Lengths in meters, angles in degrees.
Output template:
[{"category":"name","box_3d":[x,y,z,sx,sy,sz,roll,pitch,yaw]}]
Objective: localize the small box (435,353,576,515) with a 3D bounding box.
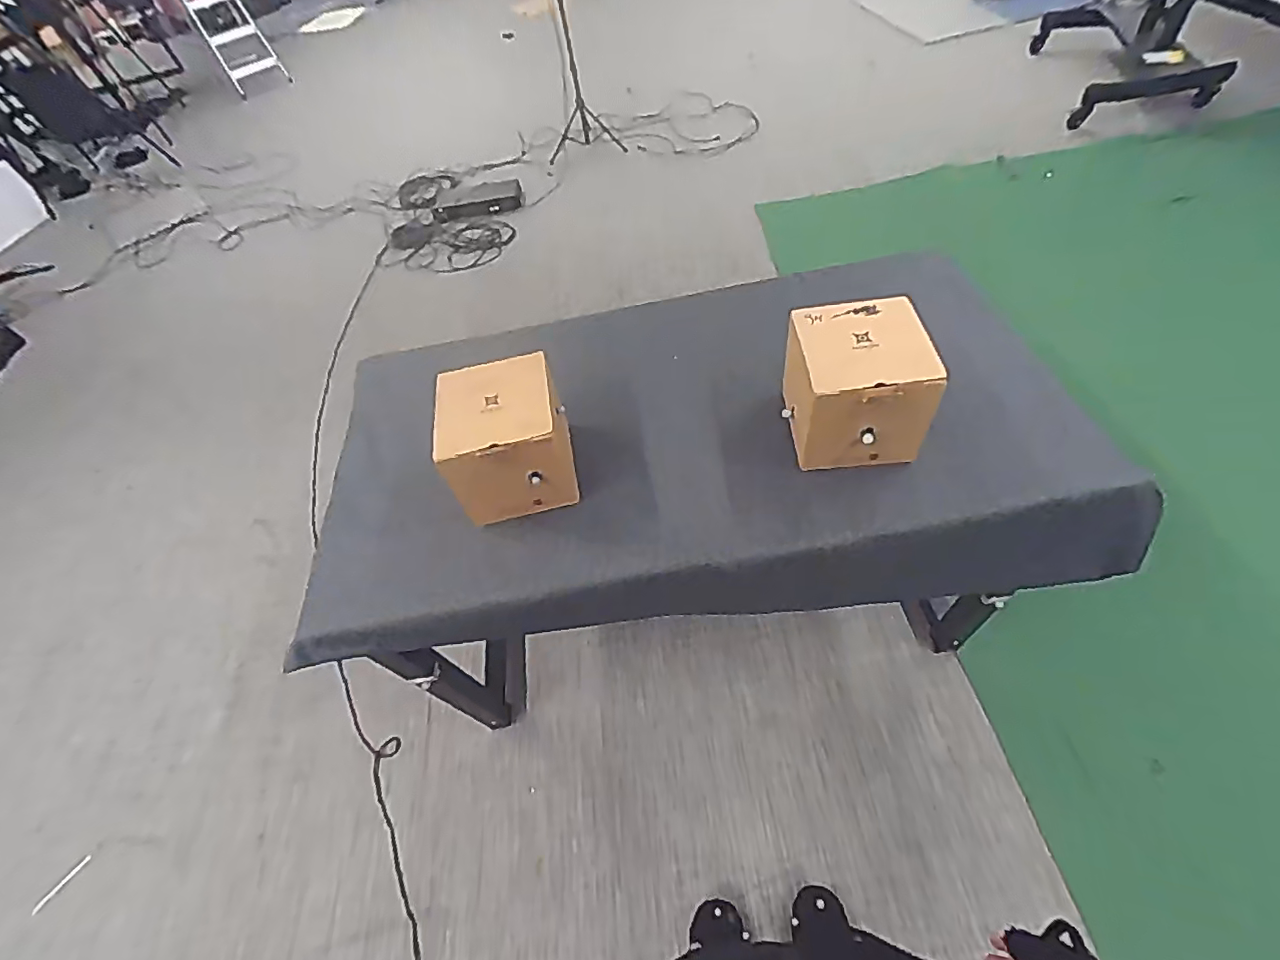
[{"category":"small box","box_3d":[-0.202,-0.063,0.838,0.168,0.176,0.179,-13,53,-2]}]

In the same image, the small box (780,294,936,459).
[{"category":"small box","box_3d":[0.307,-0.144,0.803,0.168,0.176,0.179,-6,55,6]}]
